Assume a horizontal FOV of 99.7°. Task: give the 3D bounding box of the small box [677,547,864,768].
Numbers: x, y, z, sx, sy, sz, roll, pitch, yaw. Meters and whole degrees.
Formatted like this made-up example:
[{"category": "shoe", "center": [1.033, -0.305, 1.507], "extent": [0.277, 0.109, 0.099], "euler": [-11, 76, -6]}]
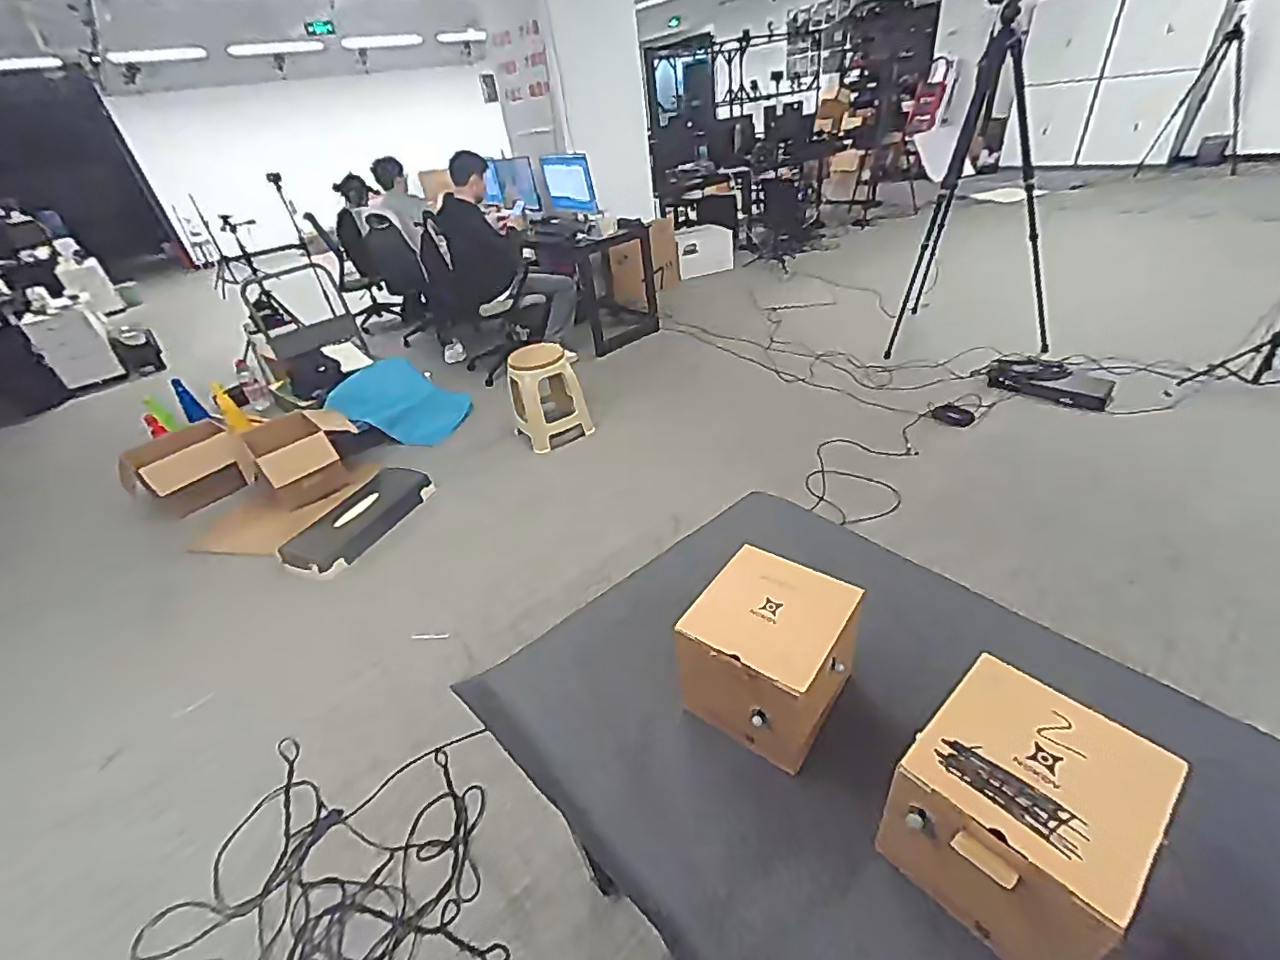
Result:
[{"category": "small box", "center": [0.168, 0.224, 0.696], "extent": [0.168, 0.176, 0.179], "euler": [20, 42, 34]}]
